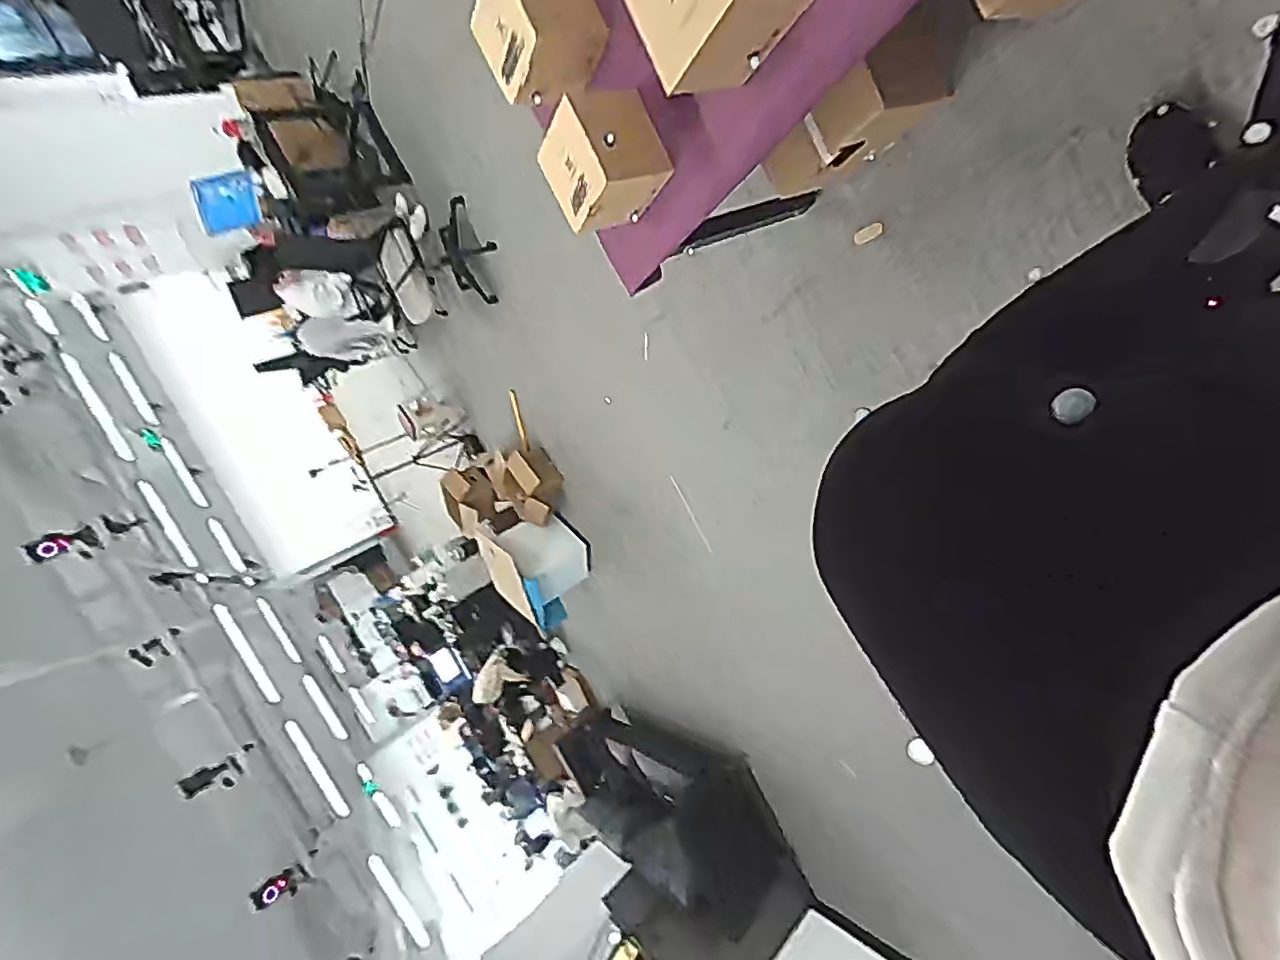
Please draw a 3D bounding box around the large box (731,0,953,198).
[{"bbox_3d":[0.464,-0.974,1.303,0.320,0.320,0.408,-20,98,59],"label":"large box"}]

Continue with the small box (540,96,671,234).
[{"bbox_3d":[-0.066,-0.626,1.073,0.168,0.176,0.179,-21,95,59],"label":"small box"}]

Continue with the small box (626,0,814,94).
[{"bbox_3d":[0.108,-0.687,0.760,0.168,0.176,0.179,-16,101,60],"label":"small box"}]
